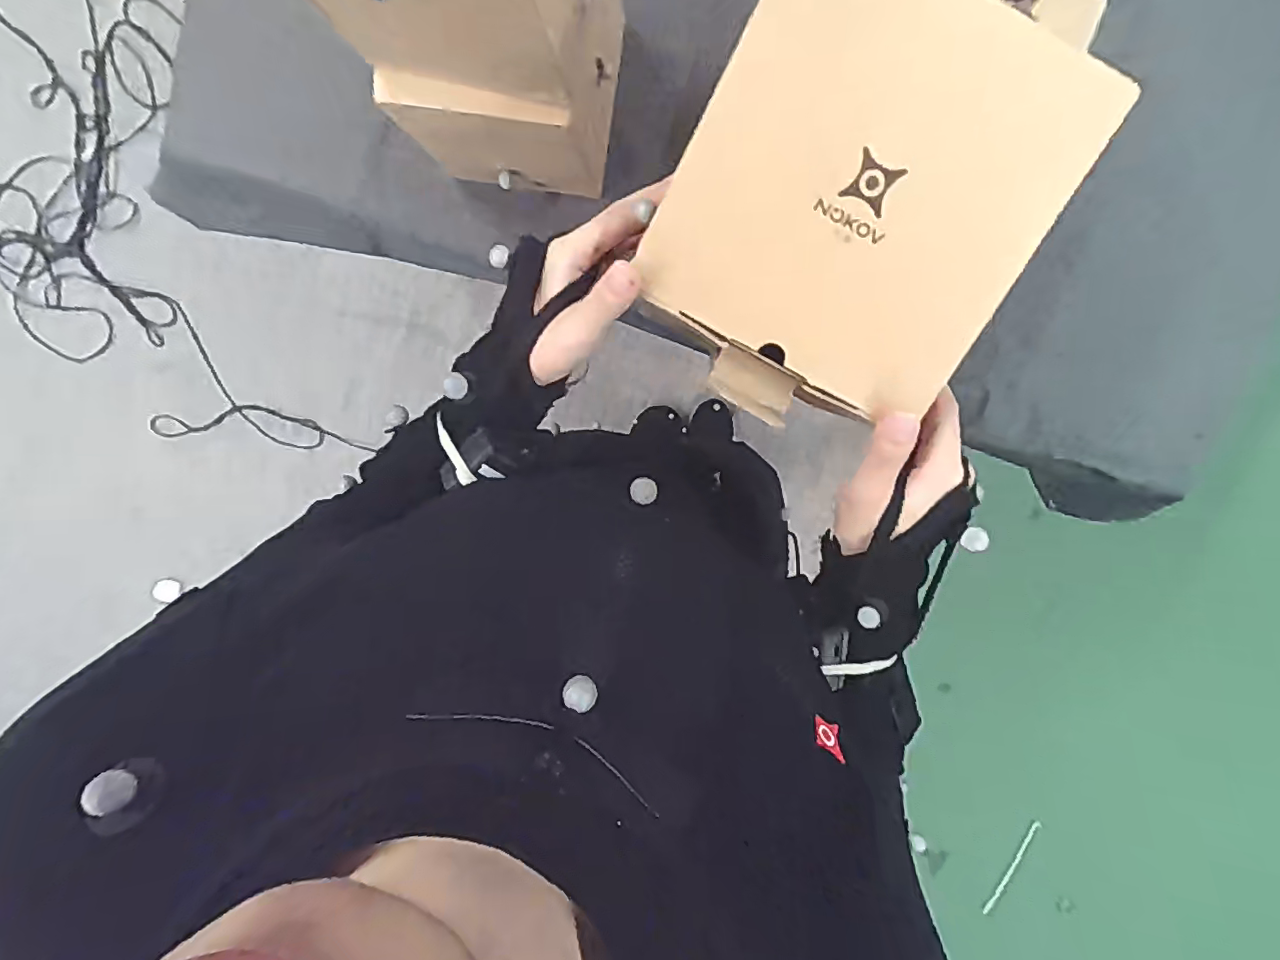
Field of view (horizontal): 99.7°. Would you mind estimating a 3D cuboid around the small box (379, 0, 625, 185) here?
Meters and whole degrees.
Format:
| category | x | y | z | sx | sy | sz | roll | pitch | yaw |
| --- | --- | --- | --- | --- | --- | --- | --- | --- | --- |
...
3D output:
| category | x | y | z | sx | sy | sz | roll | pitch | yaw |
| --- | --- | --- | --- | --- | --- | --- | --- | --- | --- |
| small box | -0.110 | -0.400 | 0.492 | 0.168 | 0.176 | 0.179 | 10 | 102 | 3 |
